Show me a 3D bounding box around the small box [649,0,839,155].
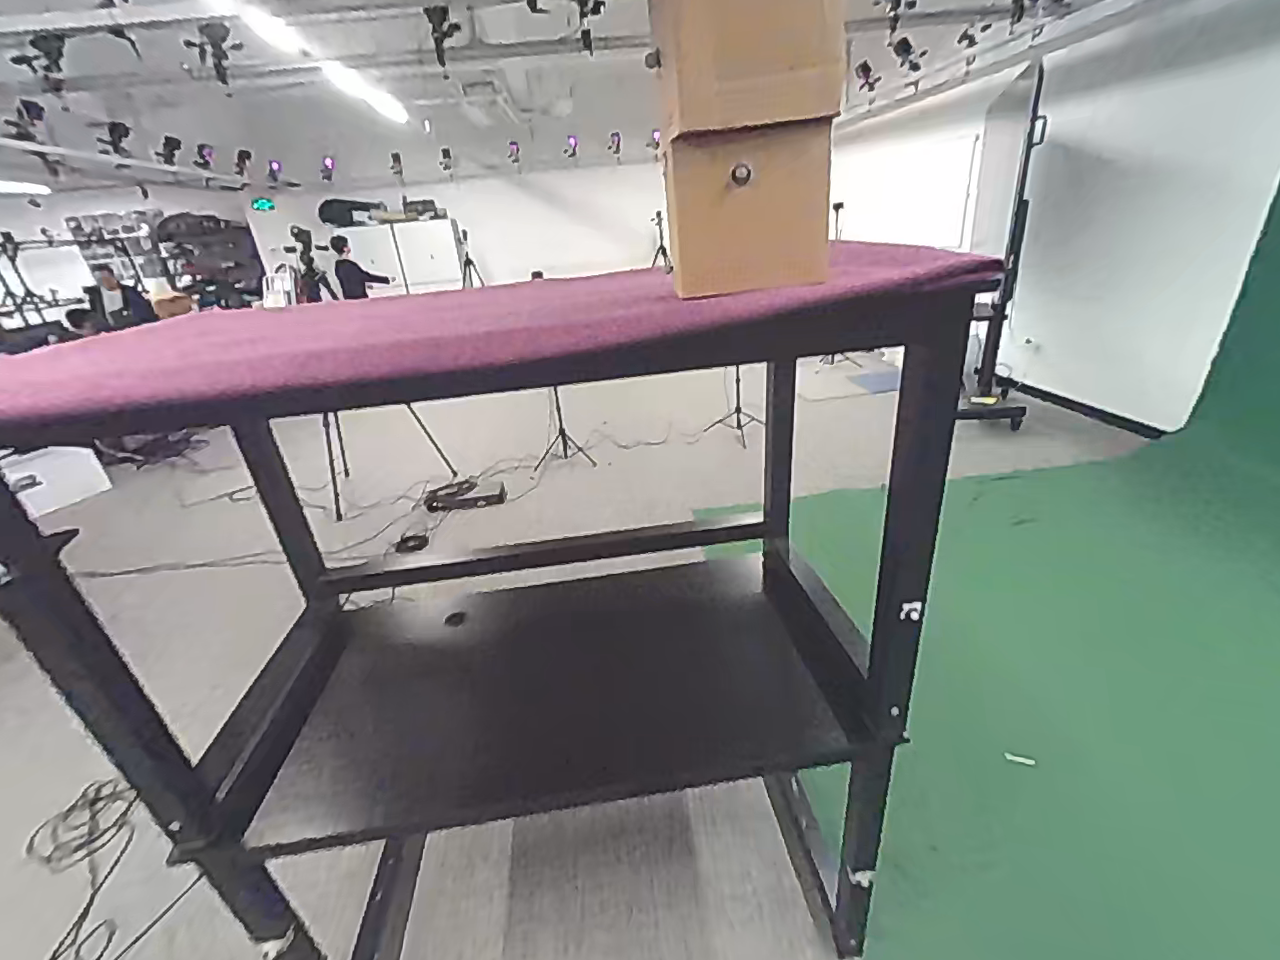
[{"bbox_3d":[0.111,-0.463,0.602,0.179,0.176,0.168,-7,24,-2],"label":"small box"}]

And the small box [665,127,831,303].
[{"bbox_3d":[0.128,-0.322,0.682,0.179,0.176,0.168,-5,24,2],"label":"small box"}]
